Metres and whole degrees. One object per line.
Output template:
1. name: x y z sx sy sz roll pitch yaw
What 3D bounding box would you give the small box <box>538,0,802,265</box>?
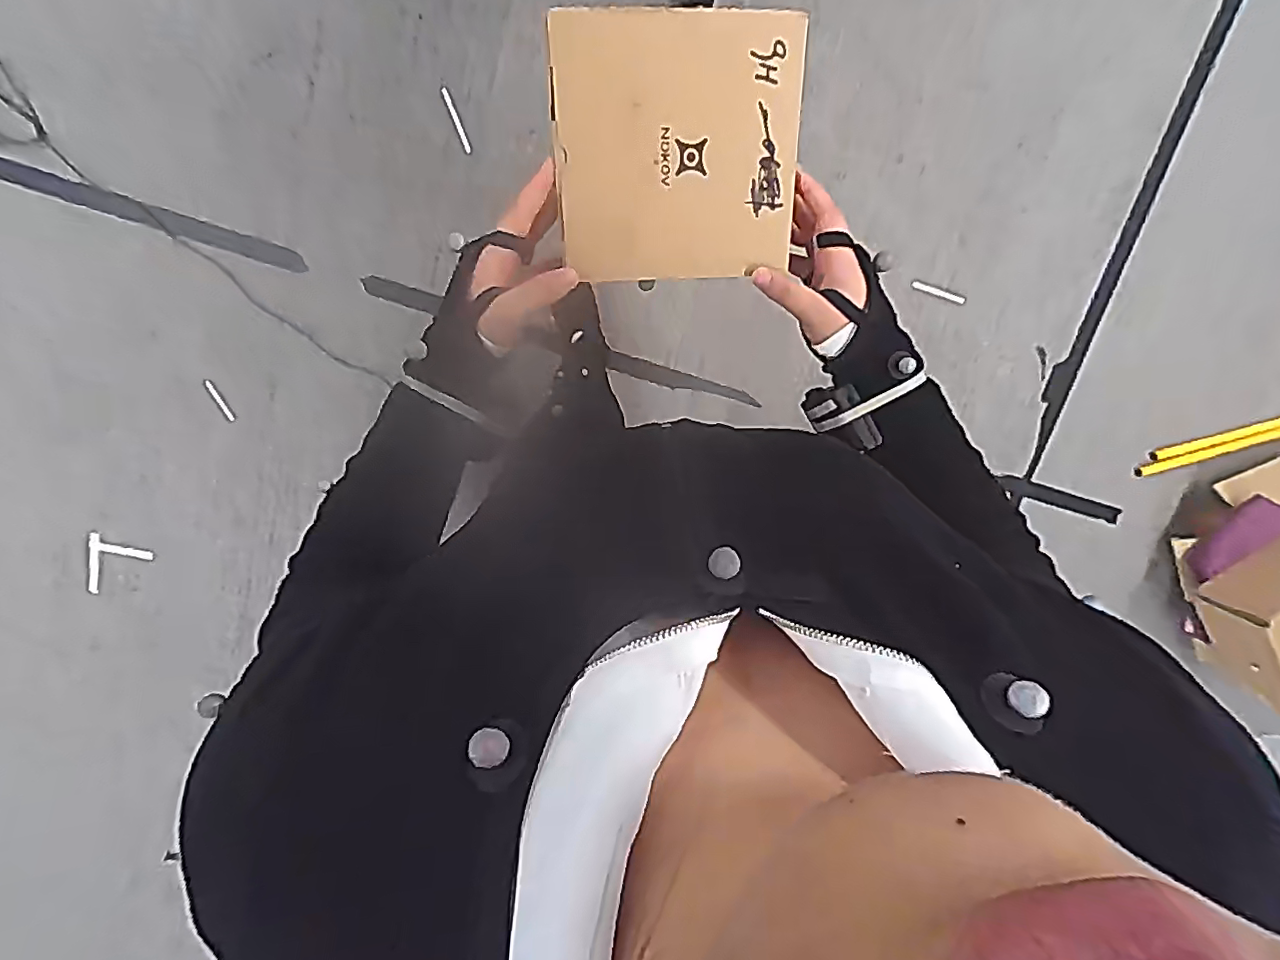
1. small box: 0.015 -0.271 0.455 0.179 0.176 0.168 -4 114 -5
